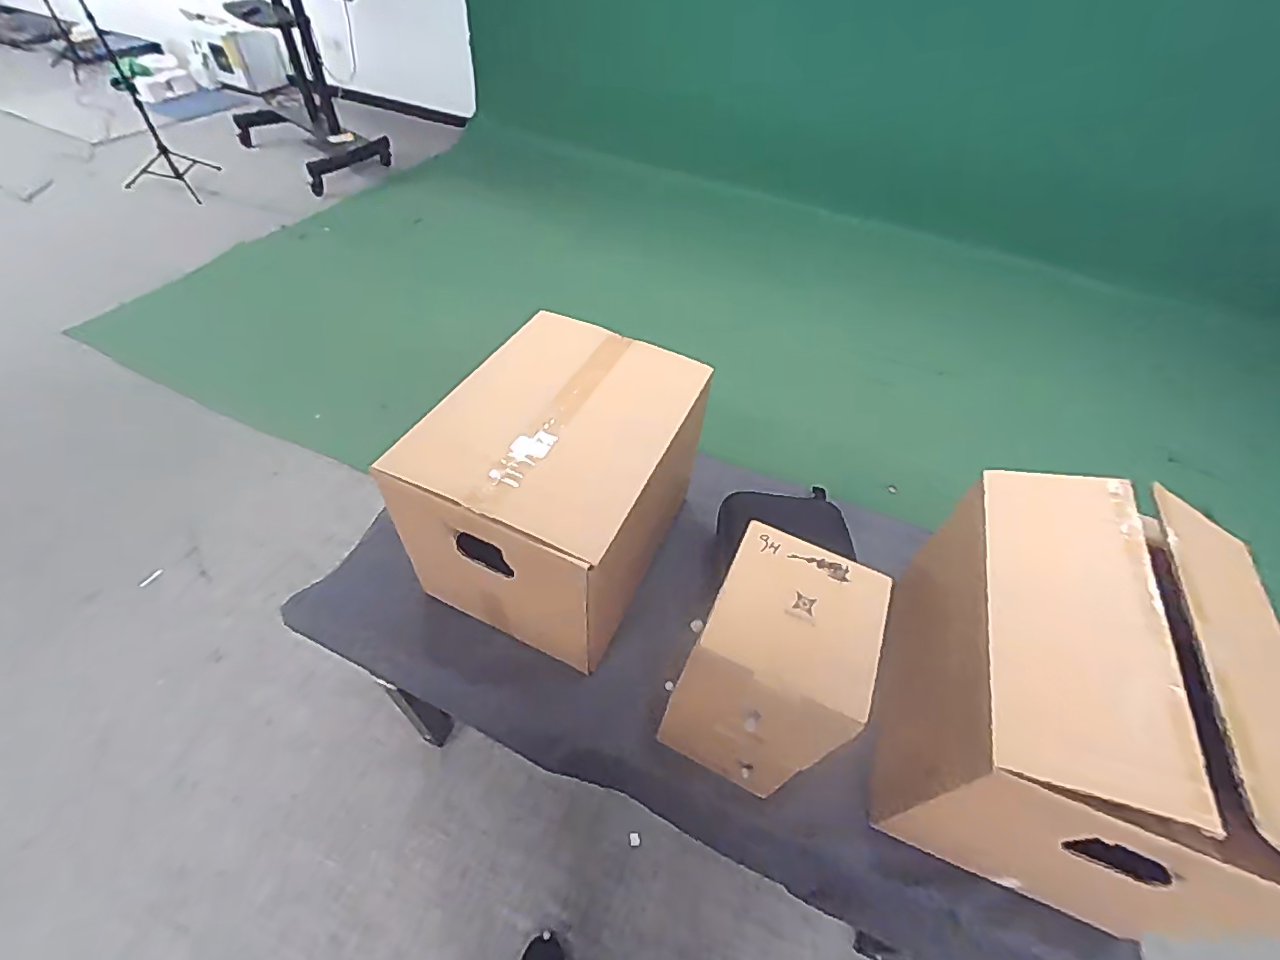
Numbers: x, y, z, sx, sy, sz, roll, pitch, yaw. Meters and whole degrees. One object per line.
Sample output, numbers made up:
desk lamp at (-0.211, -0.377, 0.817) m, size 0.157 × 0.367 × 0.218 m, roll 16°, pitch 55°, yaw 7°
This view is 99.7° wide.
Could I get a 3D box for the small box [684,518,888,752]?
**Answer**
small box at (0.159, 0.183, 0.625) m, size 0.168 × 0.176 × 0.179 m, roll 23°, pitch 53°, yaw 12°
